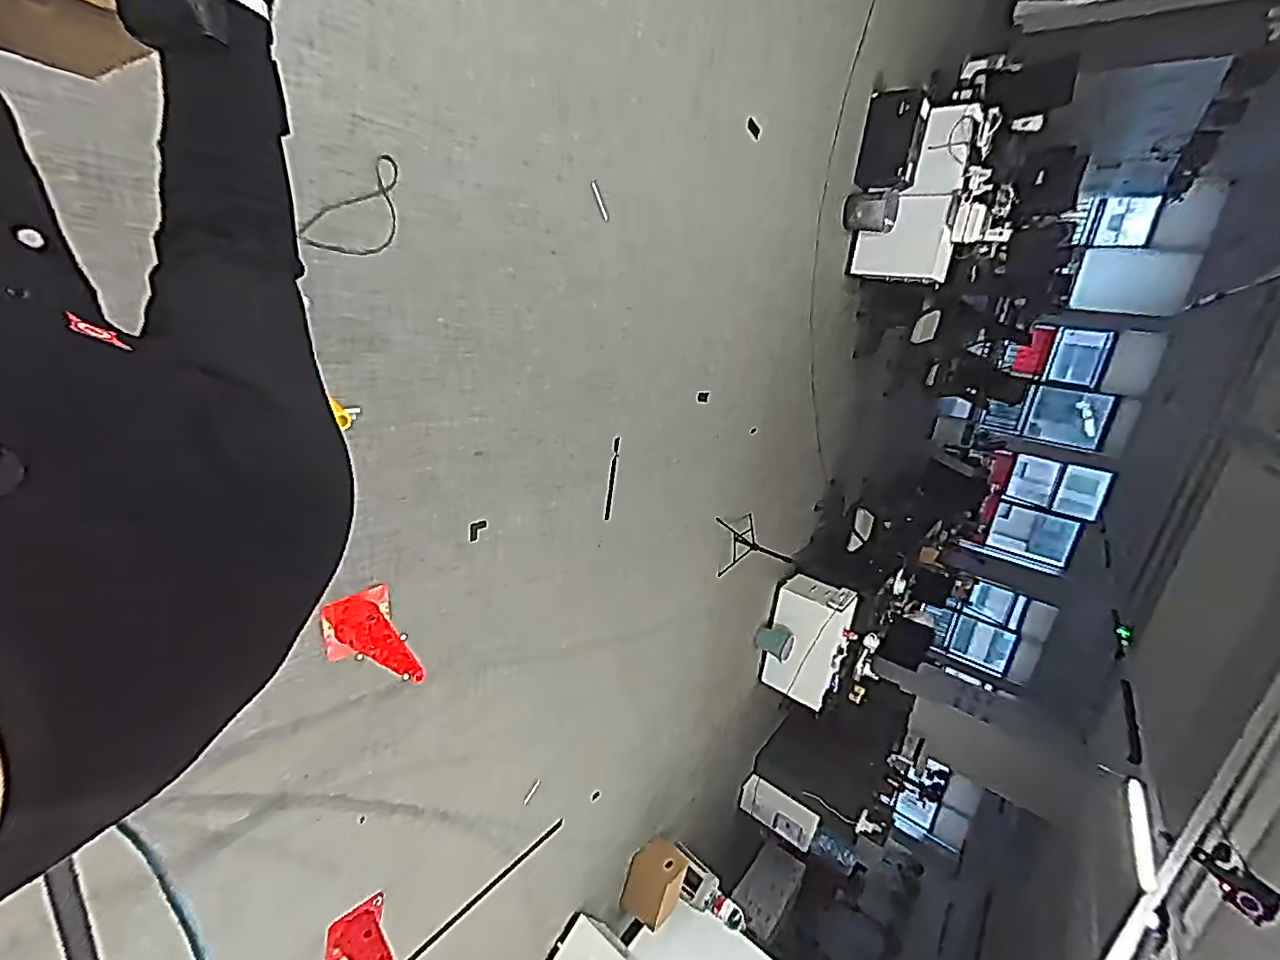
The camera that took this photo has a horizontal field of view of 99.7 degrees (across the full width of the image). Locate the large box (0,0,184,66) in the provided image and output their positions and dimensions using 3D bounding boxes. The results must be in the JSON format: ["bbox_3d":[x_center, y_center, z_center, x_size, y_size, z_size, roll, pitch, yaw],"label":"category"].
[{"bbox_3d":[-0.528,-0.478,0.258,0.408,0.320,0.320,-12,118,-52],"label":"large box"}]

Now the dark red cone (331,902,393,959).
[{"bbox_3d":[-0.909,1.733,1.897,0.201,0.394,0.202,-6,111,-51],"label":"dark red cone"}]

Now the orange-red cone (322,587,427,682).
[{"bbox_3d":[-0.735,0.487,1.568,0.198,0.360,0.199,-20,120,-49],"label":"orange-red cone"}]
